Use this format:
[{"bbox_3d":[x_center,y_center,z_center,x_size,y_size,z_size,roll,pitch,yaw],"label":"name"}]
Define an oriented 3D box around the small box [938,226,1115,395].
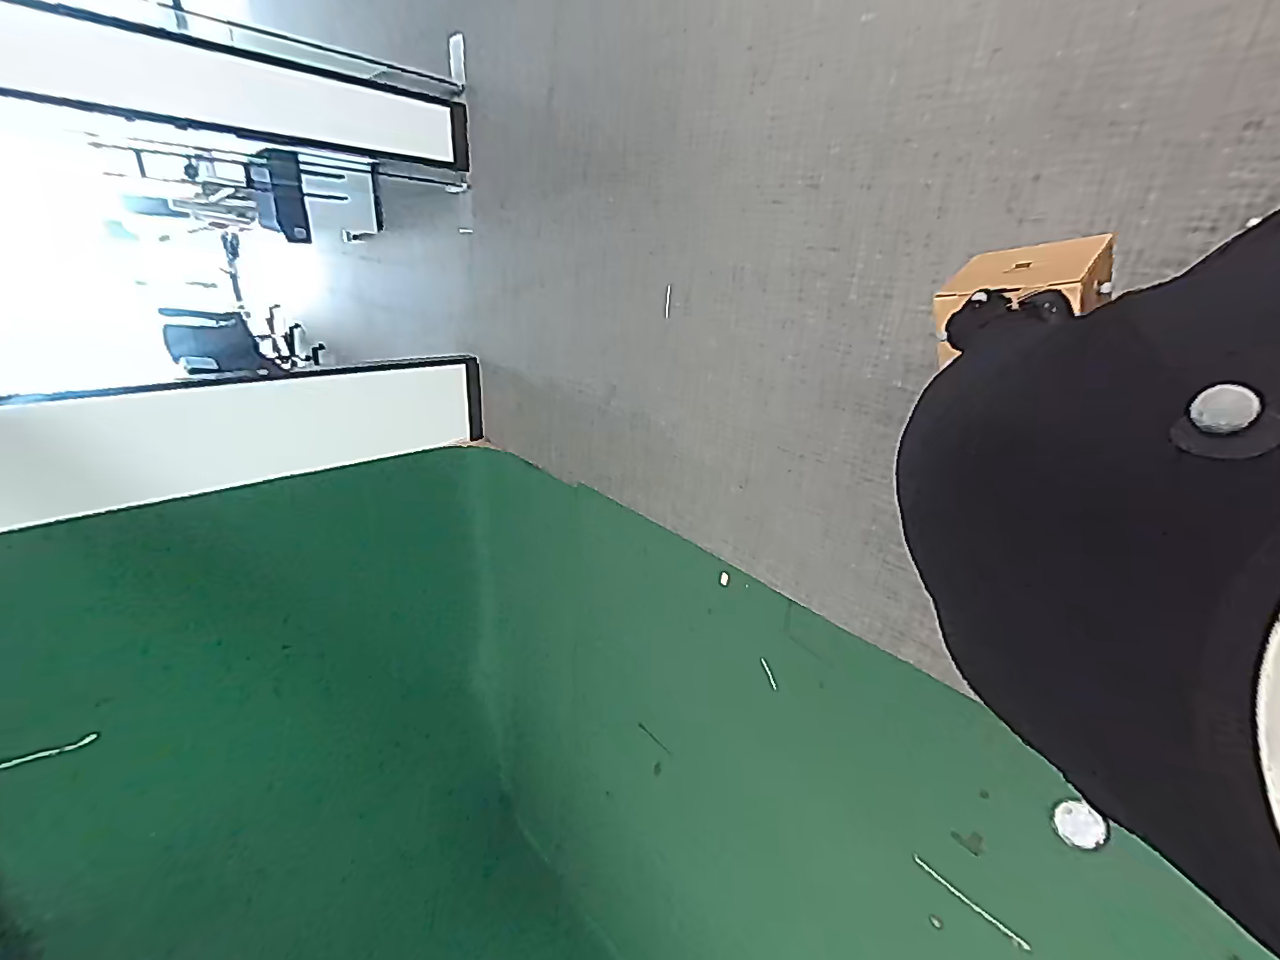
[{"bbox_3d":[0.550,-0.237,0.775,0.168,0.179,0.176,11,133,47],"label":"small box"}]
